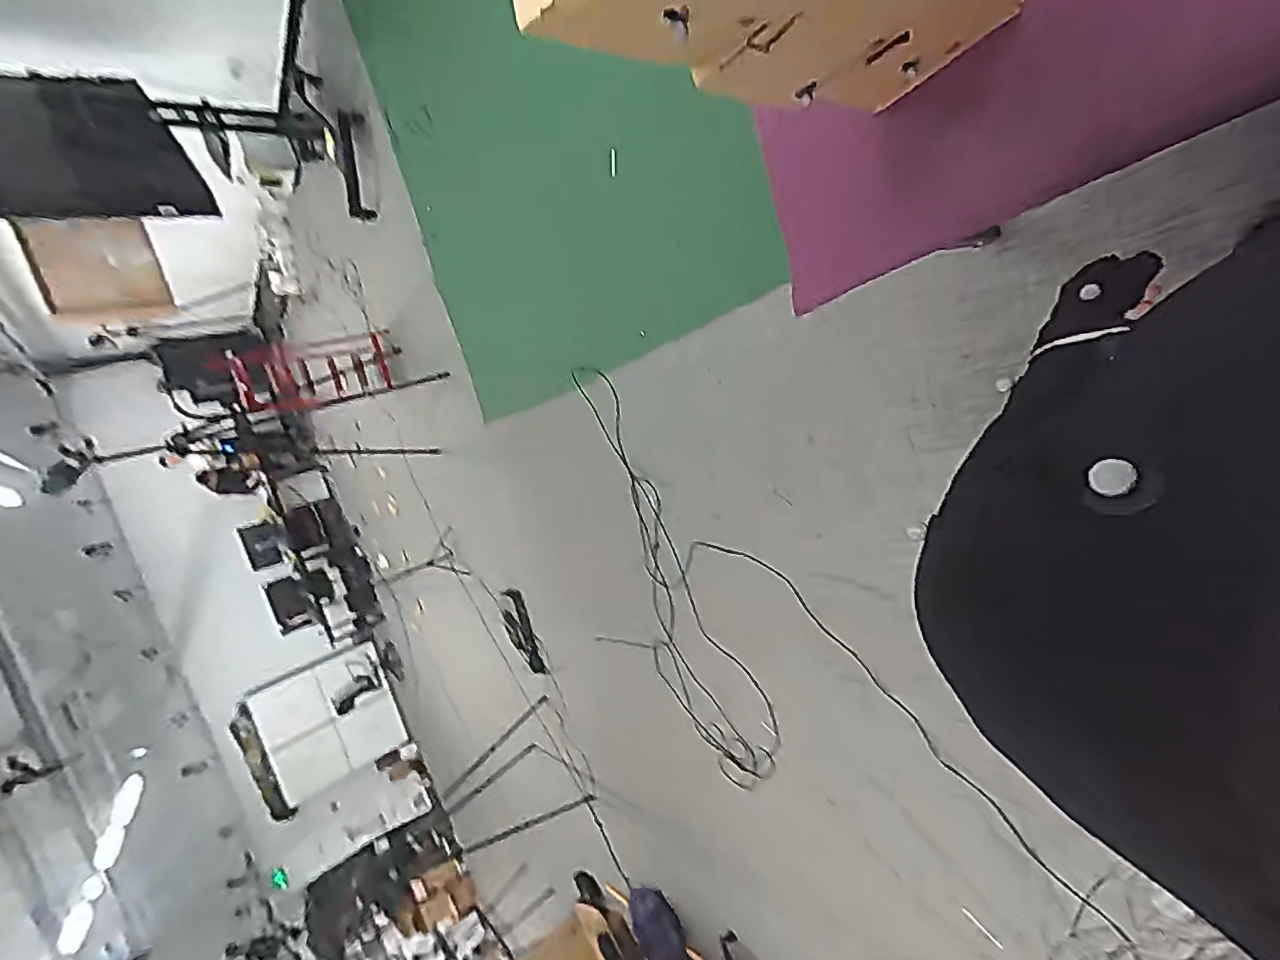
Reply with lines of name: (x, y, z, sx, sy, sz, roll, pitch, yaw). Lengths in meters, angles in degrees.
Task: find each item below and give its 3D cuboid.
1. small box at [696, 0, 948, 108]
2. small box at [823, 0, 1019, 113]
small box: (0.148, -0.465, 0.480, 0.168, 0.176, 0.179, -7, 102, 50)
small box: (0.267, -0.531, 0.573, 0.168, 0.176, 0.179, -14, 97, 51)
